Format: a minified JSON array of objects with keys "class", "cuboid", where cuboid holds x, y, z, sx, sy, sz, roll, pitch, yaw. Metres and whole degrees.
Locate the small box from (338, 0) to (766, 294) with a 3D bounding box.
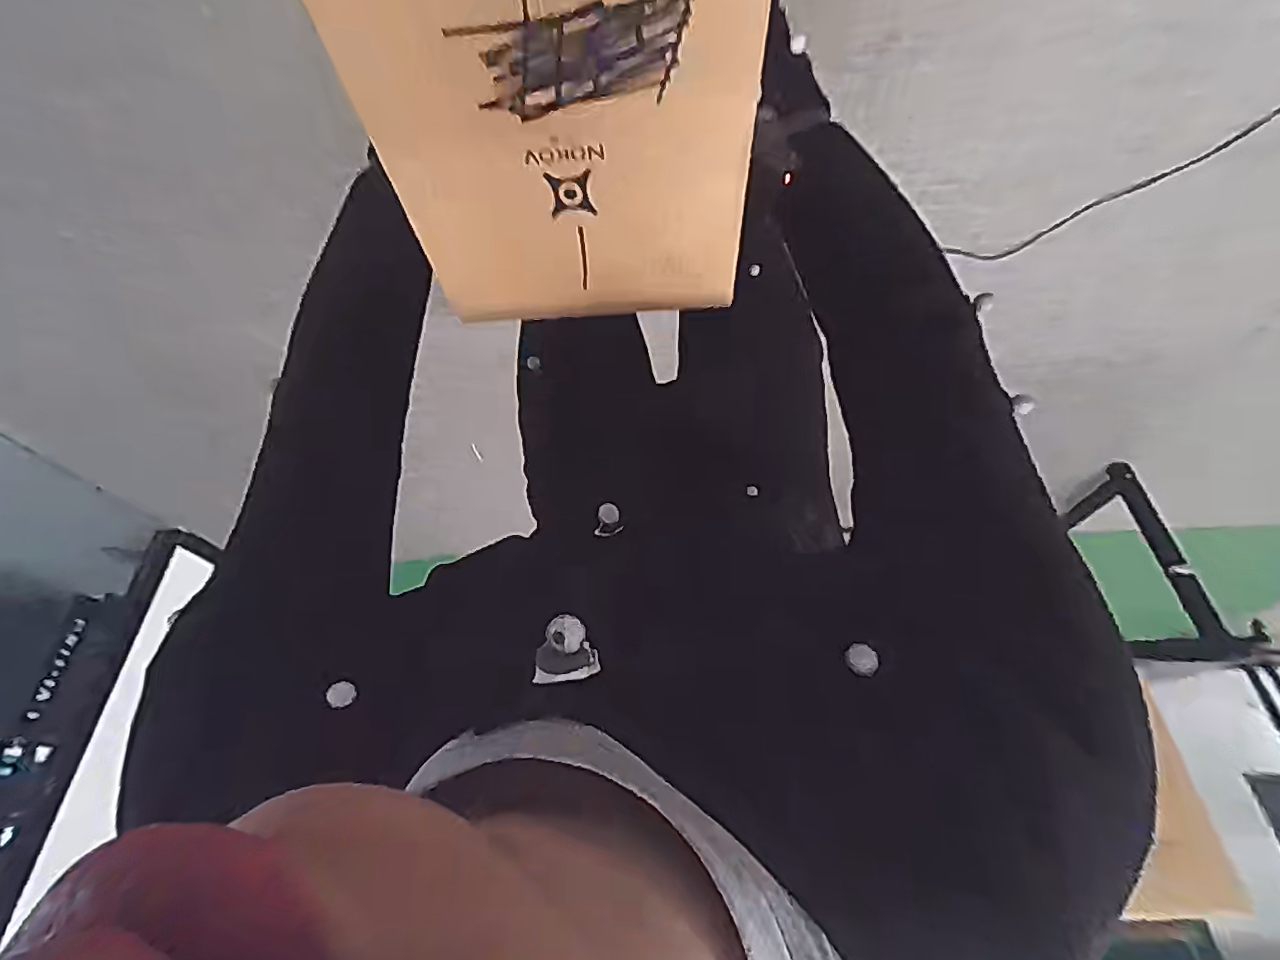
[{"class":"small box","cuboid":[-0.033,-0.229,0.288,0.168,0.176,0.179,-3,152,2]}]
